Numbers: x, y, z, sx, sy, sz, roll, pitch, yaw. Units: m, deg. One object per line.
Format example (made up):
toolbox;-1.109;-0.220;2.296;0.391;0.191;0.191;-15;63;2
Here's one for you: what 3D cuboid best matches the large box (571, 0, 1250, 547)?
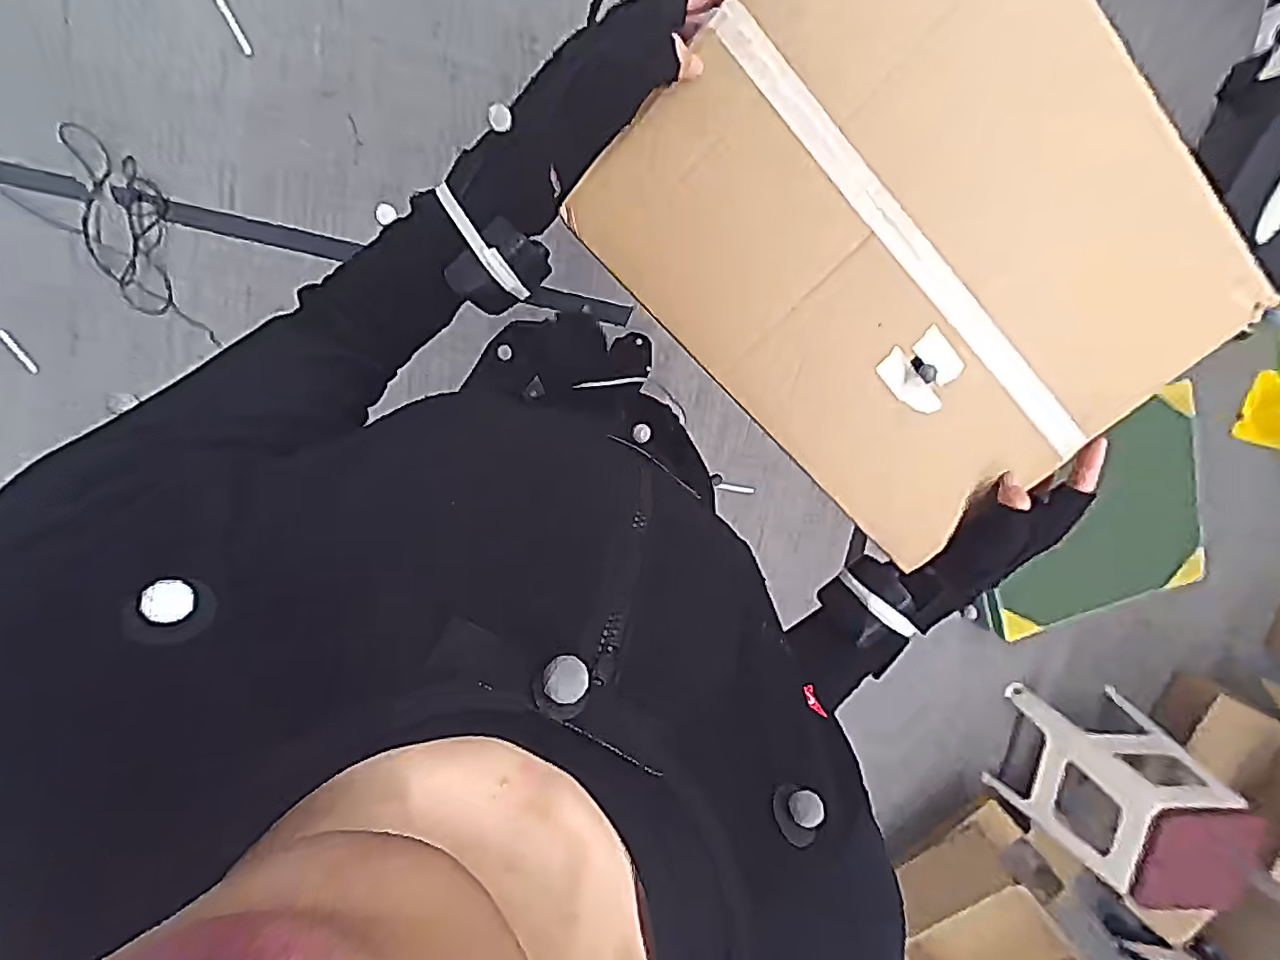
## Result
large box;0.198;-0.220;0.526;0.408;0.320;0.320;42;108;-13
